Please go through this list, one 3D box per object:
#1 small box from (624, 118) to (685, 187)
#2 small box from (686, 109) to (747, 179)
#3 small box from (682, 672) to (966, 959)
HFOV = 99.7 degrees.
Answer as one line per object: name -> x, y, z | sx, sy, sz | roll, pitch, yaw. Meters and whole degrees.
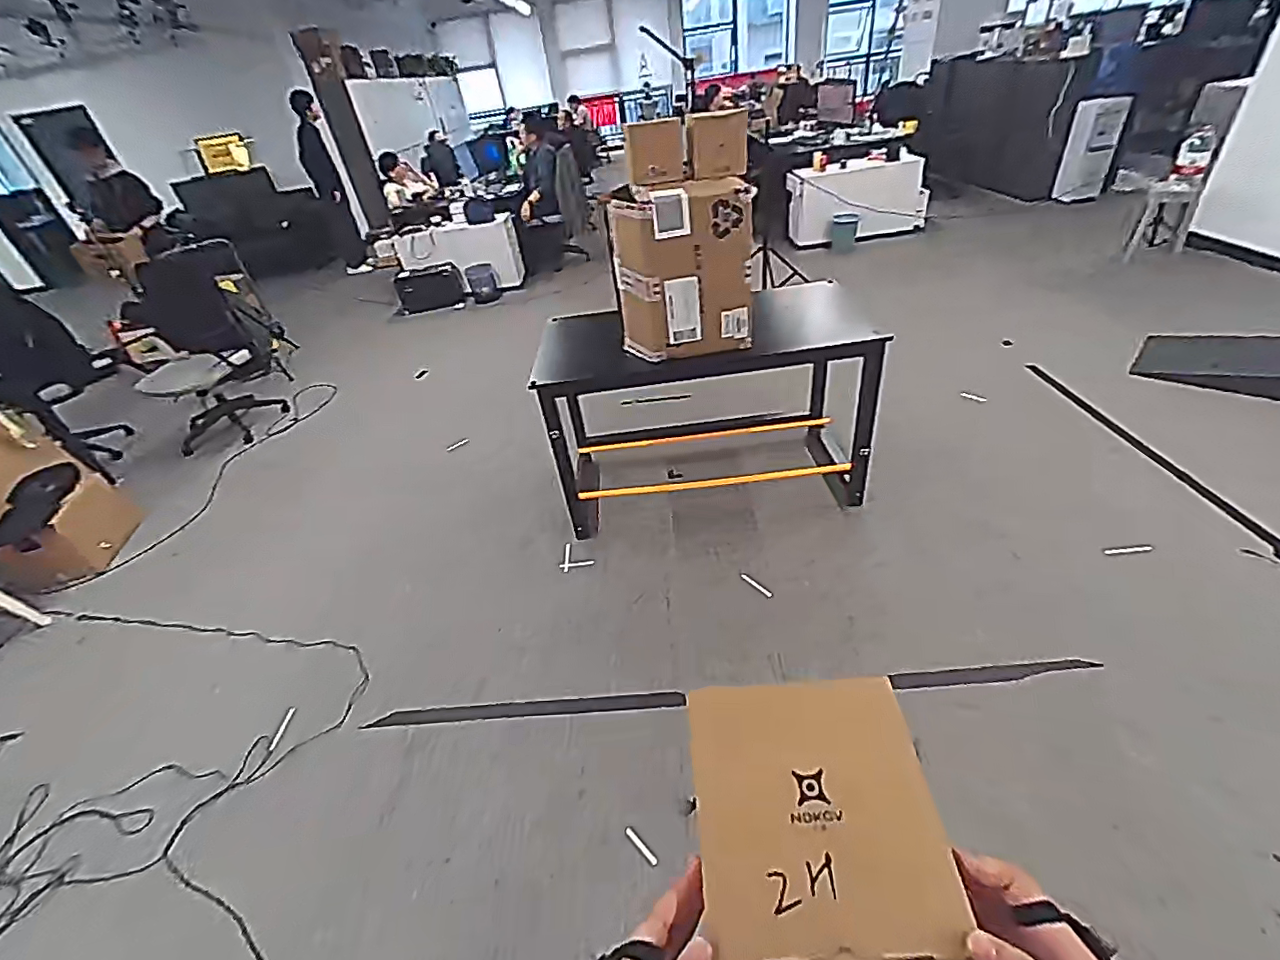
small box -> 0.044, -1.052, 1.737 | 0.168, 0.176, 0.179 | -10, 35, -3
small box -> 0.242, -1.070, 1.724 | 0.168, 0.176, 0.179 | -6, 37, -1
small box -> 0.123, 0.282, 0.445 | 0.168, 0.176, 0.179 | -6, 45, 4
